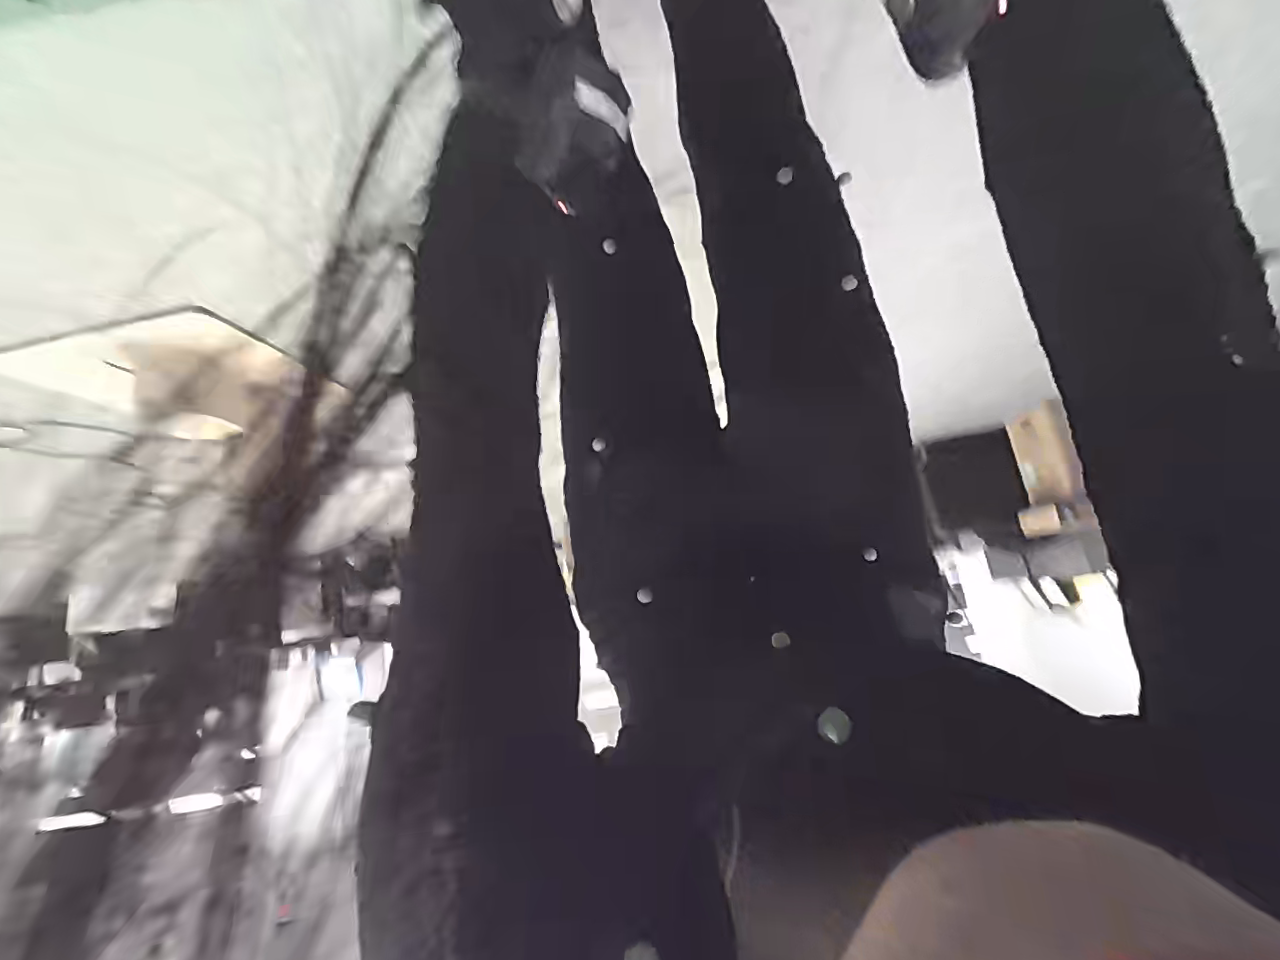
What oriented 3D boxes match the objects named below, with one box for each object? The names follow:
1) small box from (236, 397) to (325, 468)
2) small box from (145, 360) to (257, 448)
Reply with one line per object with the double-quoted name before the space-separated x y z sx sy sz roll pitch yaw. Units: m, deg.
"small box" -1.123 -0.148 1.693 0.179 0.176 0.168 -11 167 10
"small box" -1.169 -0.202 1.452 0.179 0.176 0.168 -11 168 6
